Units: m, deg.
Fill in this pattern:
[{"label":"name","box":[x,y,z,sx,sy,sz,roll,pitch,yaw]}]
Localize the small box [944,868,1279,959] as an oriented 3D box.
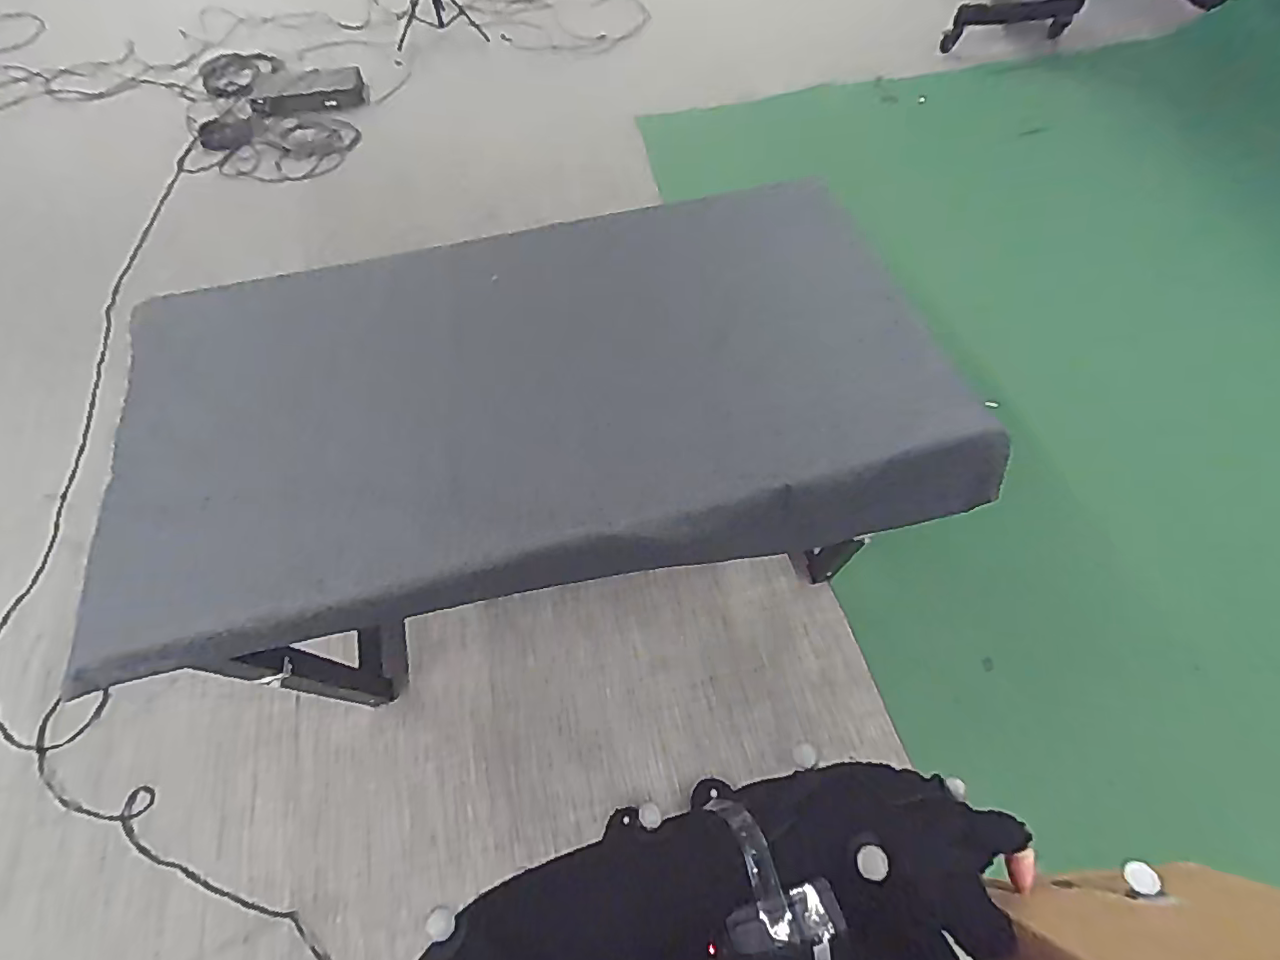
[{"label":"small box","box":[0.287,0.321,0.264,0.168,0.176,0.179,-2,68,-2]}]
